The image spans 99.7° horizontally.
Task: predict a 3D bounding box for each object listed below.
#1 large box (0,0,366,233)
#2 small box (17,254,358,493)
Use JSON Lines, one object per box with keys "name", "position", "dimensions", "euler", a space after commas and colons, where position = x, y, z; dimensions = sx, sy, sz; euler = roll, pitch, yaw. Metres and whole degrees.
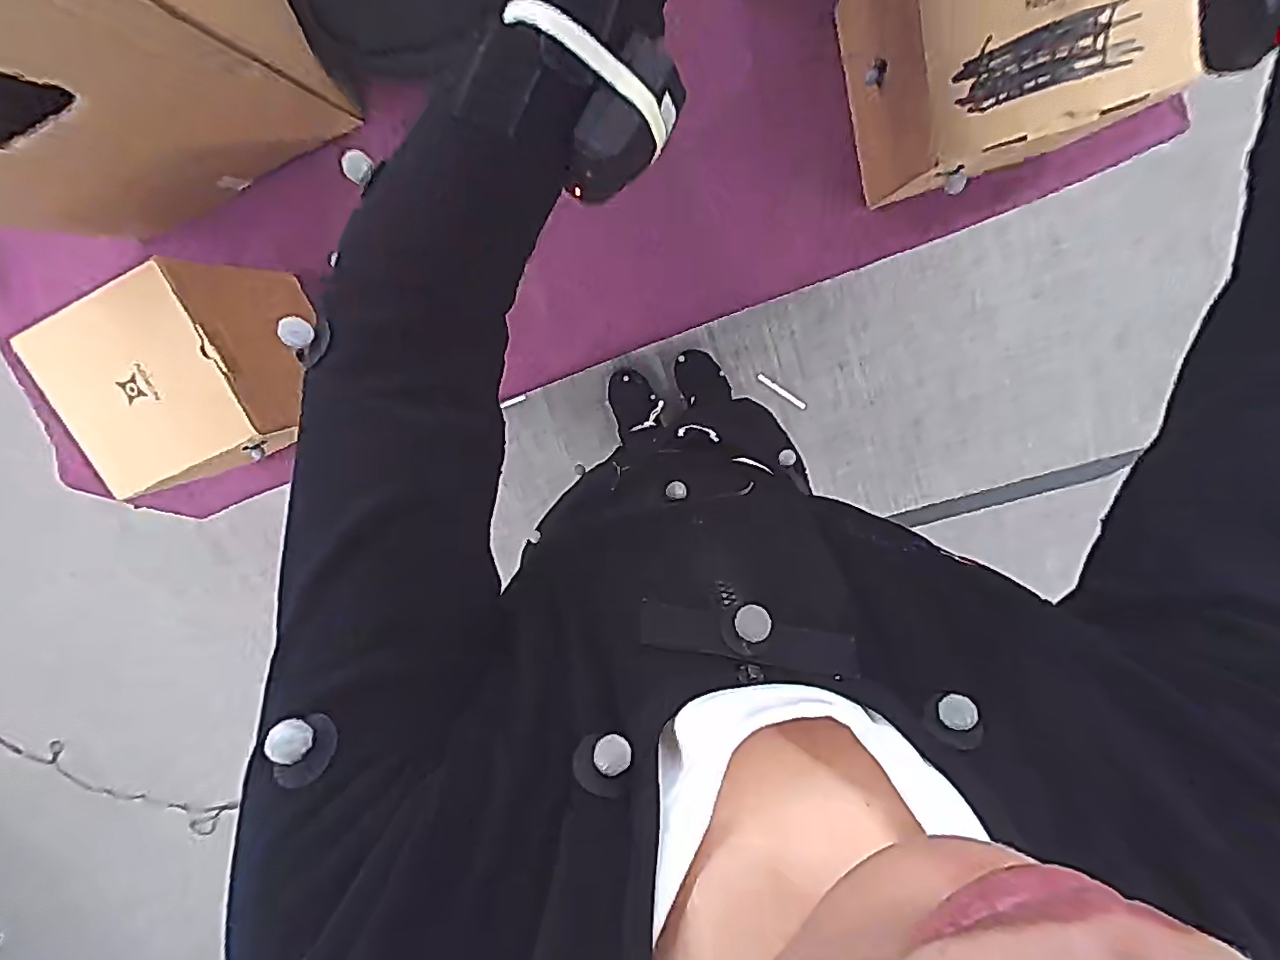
{"name": "large box", "position": [-0.500, -0.454, 0.391], "dimensions": [0.320, 0.320, 0.408], "euler": [-20, 106, 11]}
{"name": "small box", "position": [-0.443, -0.109, 0.562], "dimensions": [0.179, 0.176, 0.168], "euler": [-22, 103, 10]}
